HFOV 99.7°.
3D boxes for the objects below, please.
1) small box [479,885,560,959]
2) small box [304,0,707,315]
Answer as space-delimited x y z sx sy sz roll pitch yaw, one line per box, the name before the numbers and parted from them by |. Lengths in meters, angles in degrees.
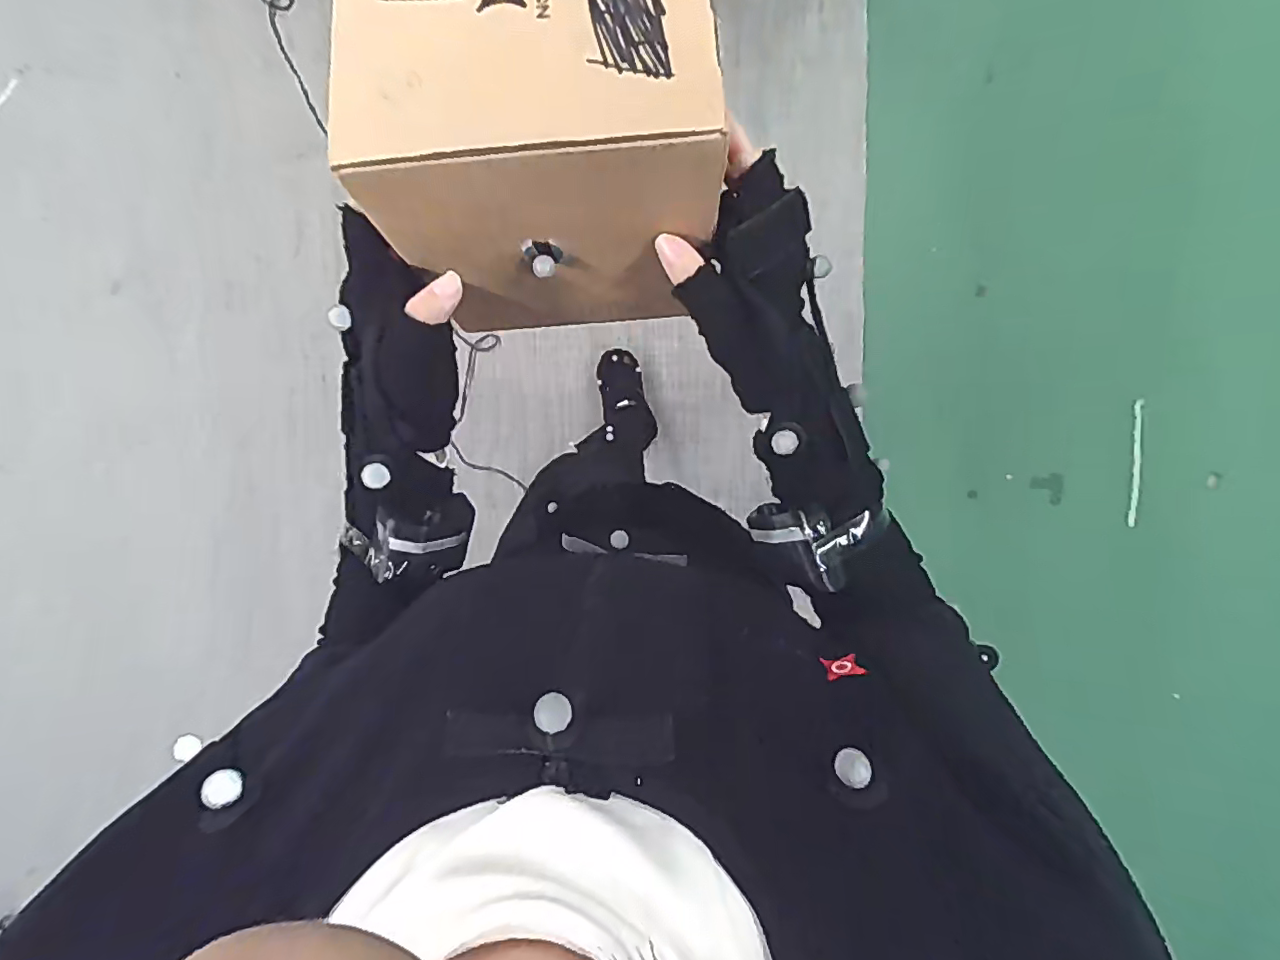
small box | -0.303 1.182 1.384 0.168 0.176 0.179 -2 96 3
small box | -0.058 -0.213 0.322 0.179 0.176 0.168 -2 80 2
